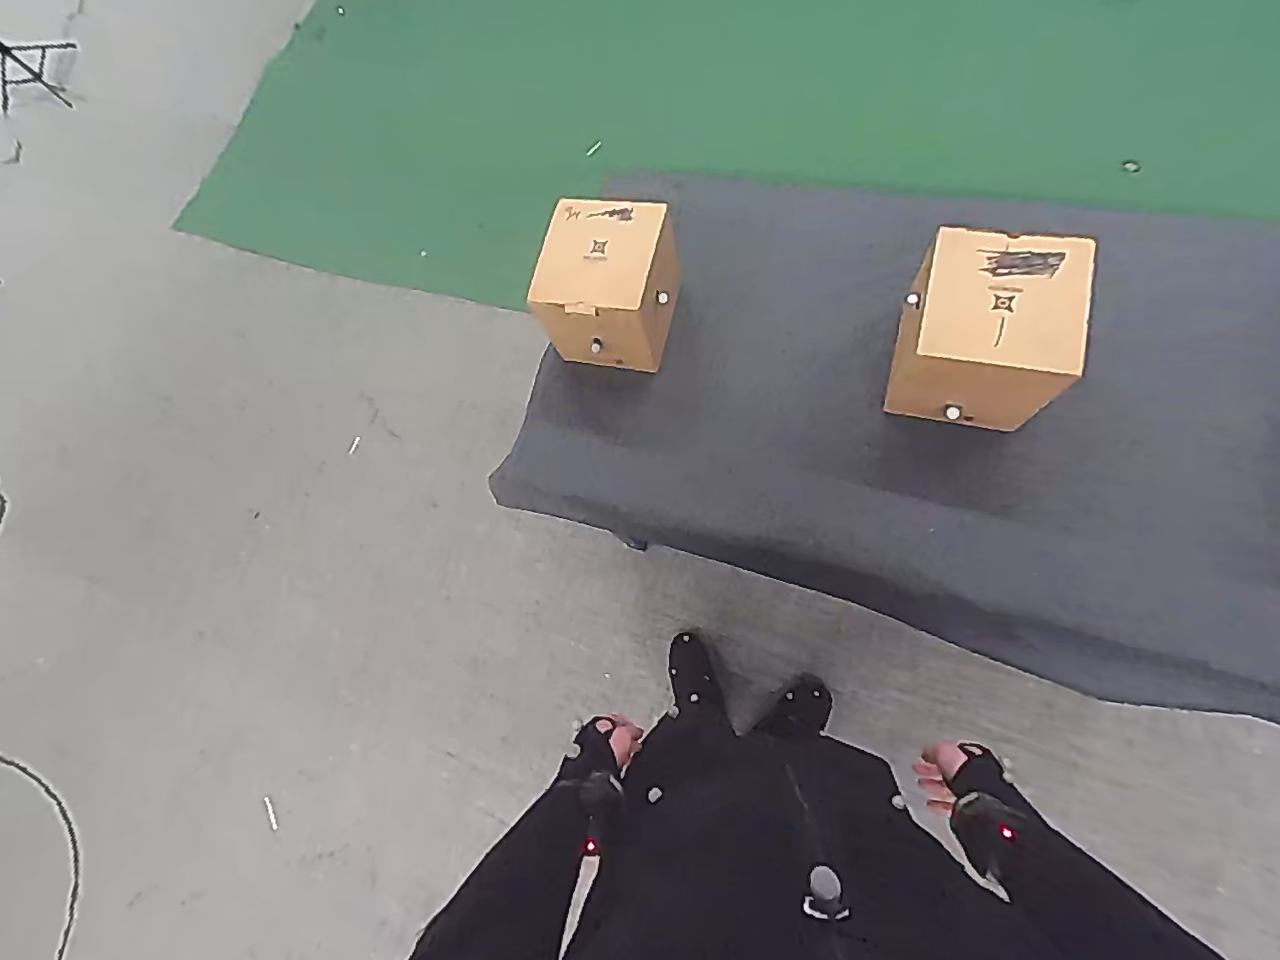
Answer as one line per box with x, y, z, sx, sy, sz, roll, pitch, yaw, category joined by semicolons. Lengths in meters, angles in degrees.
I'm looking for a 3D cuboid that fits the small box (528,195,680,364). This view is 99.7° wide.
-0.043;-0.294;0.817;0.168;0.176;0.179;11;77;15;small box

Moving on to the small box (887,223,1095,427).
0.427;-0.188;0.684;0.168;0.176;0.179;13;78;16;small box
